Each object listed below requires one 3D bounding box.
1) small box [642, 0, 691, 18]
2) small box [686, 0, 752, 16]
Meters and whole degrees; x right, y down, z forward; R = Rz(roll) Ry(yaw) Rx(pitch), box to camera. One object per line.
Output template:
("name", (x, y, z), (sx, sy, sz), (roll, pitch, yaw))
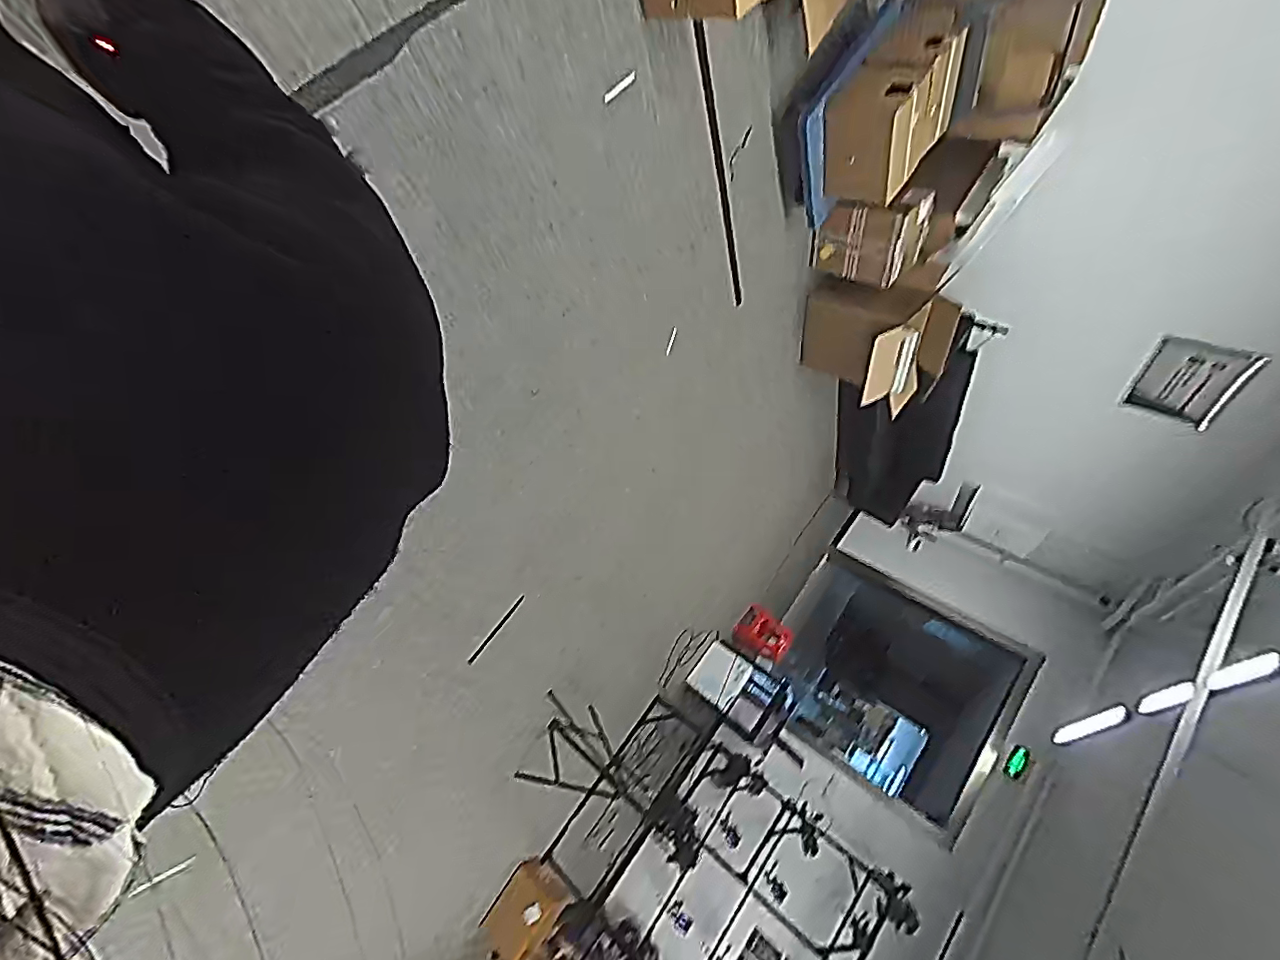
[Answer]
("small box", (0.104, -1.488, 1.573), (0.168, 0.176, 0.179), (-49, 148, -20))
("small box", (0.234, -1.428, 1.495), (0.179, 0.176, 0.168), (-50, 149, -15))
